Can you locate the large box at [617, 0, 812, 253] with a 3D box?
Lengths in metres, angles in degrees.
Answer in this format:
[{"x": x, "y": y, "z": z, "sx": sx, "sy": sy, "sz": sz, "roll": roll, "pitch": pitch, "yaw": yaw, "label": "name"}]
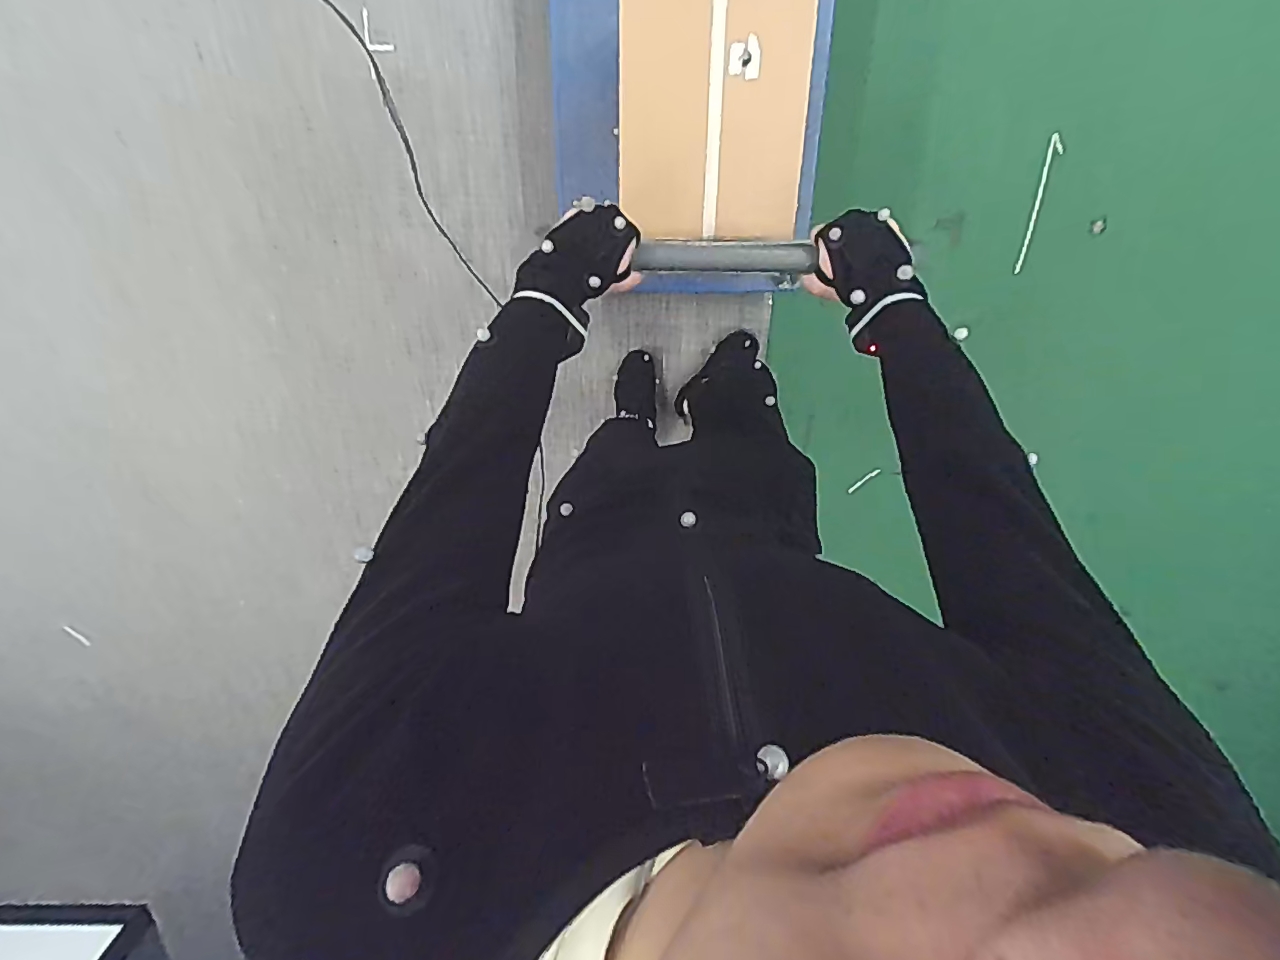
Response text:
[{"x": 0.122, "y": -0.665, "z": 1.042, "sx": 0.320, "sy": 0.320, "sz": 0.408, "roll": 0, "pitch": 110, "yaw": -1, "label": "large box"}]
